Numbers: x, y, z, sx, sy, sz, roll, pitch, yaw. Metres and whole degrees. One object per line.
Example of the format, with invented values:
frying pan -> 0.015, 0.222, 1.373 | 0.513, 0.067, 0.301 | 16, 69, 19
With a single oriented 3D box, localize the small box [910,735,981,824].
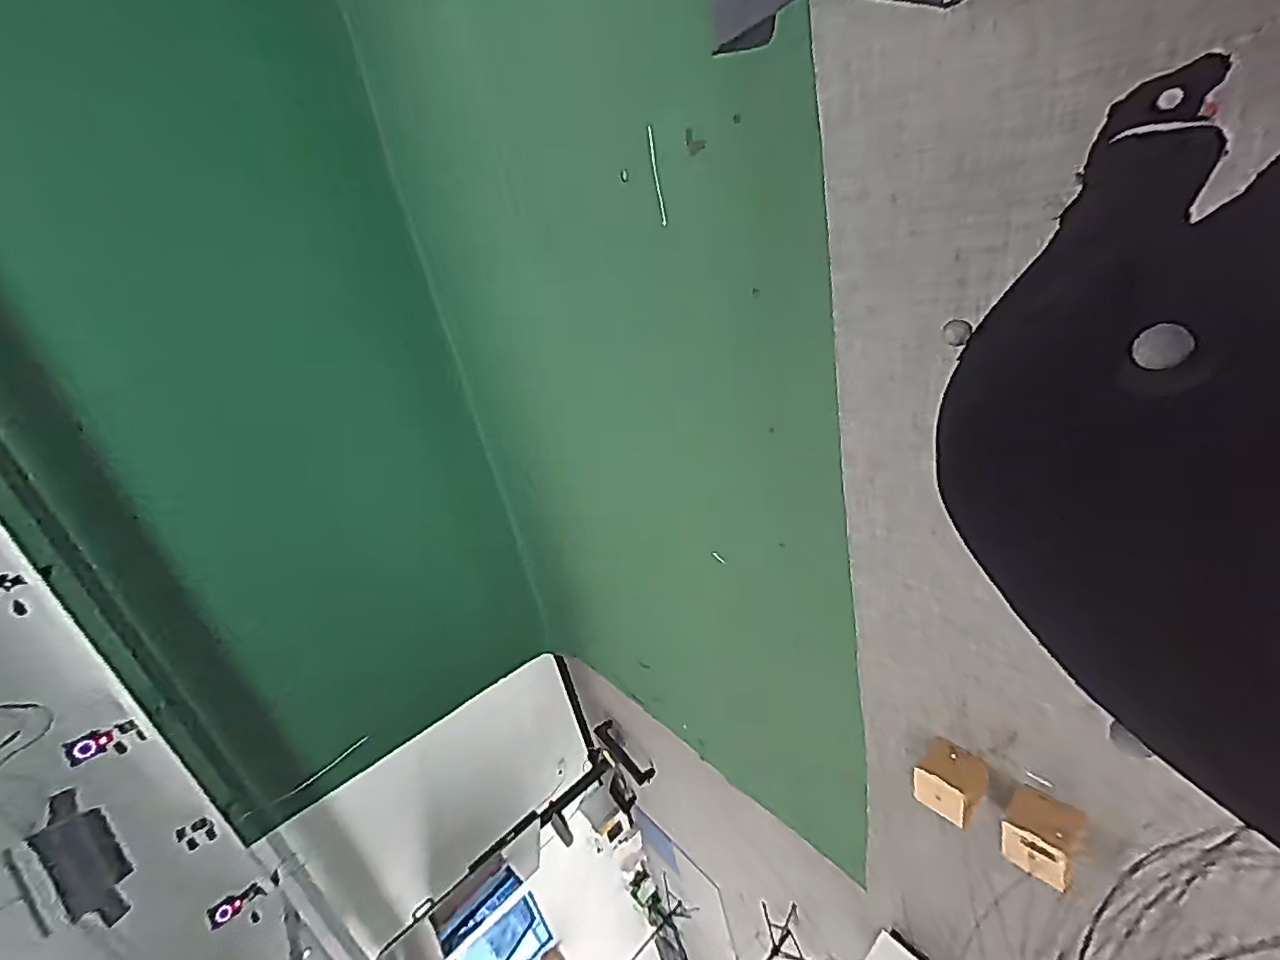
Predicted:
small box -> 1.080, 1.053, 1.911 | 0.168, 0.176, 0.179 | 17, 126, 49
